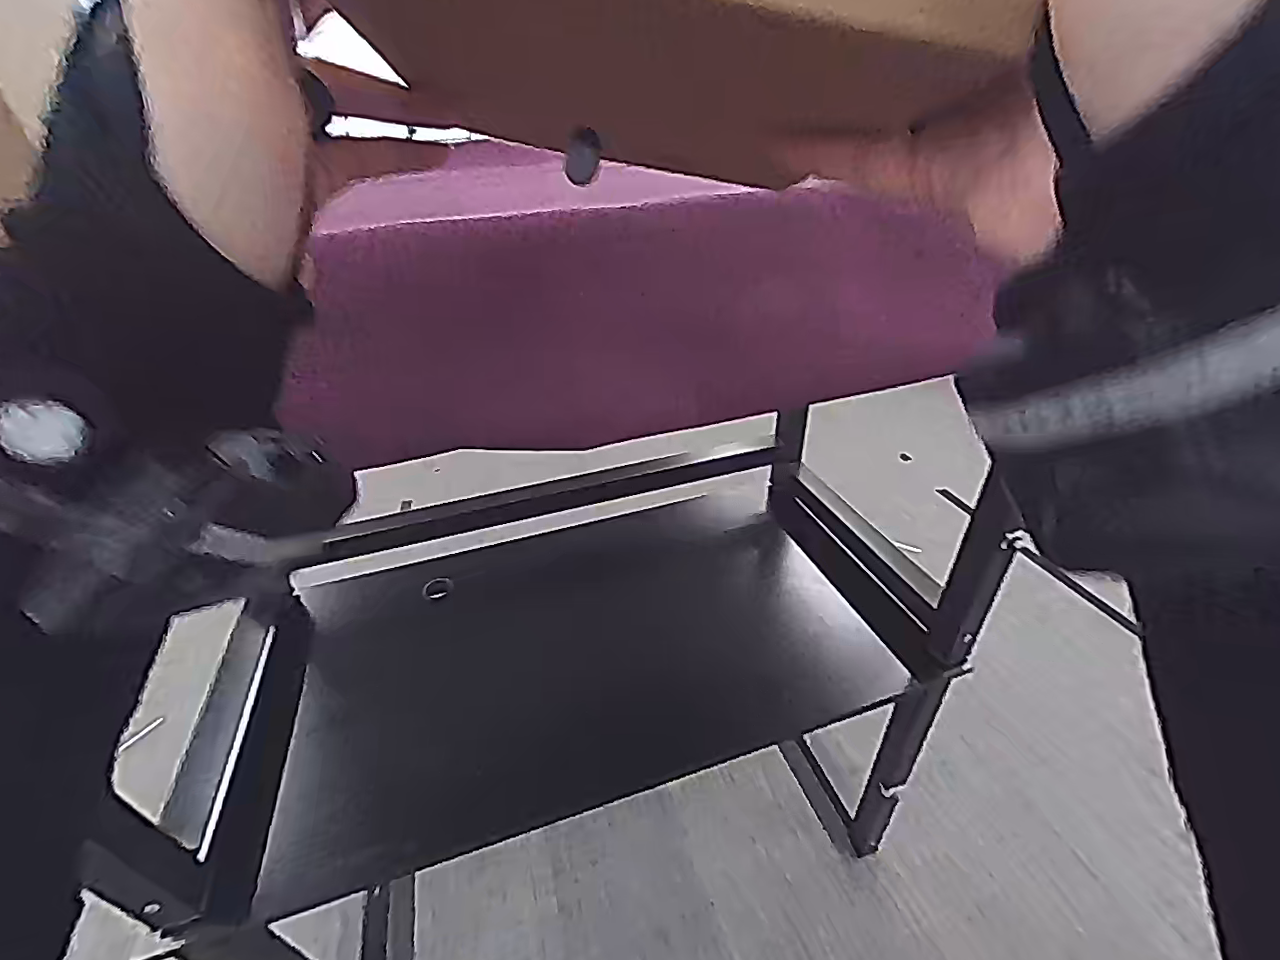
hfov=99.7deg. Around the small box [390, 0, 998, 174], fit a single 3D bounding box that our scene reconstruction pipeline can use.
[{"bbox_3d":[0.006,-0.218,0.160,0.168,0.179,0.176,7,17,-6],"label":"small box"}]
